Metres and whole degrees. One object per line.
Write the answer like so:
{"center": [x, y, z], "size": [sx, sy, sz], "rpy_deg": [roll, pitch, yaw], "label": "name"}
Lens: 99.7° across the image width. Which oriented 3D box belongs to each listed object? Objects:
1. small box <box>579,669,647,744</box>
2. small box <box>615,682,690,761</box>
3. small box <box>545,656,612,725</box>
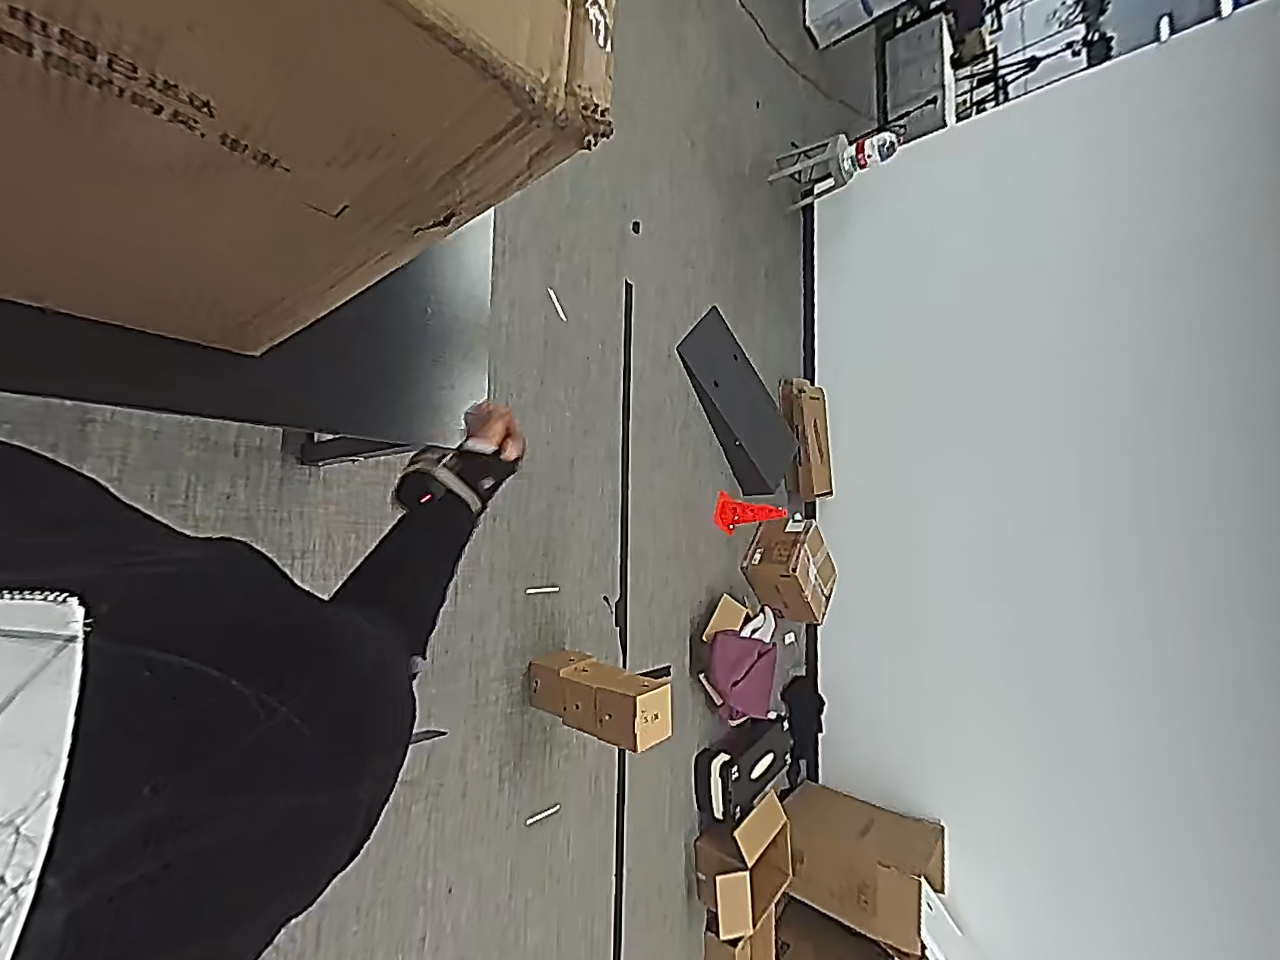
{"center": [-0.090, 0.747, 1.802], "size": [0.179, 0.176, 0.168], "rpy_deg": [-4, 91, -50], "label": "small box"}
{"center": [0.040, 0.749, 1.700], "size": [0.179, 0.176, 0.168], "rpy_deg": [3, 85, -50], "label": "small box"}
{"center": [-0.216, 0.734, 1.908], "size": [0.179, 0.176, 0.168], "rpy_deg": [-3, 90, -49], "label": "small box"}
